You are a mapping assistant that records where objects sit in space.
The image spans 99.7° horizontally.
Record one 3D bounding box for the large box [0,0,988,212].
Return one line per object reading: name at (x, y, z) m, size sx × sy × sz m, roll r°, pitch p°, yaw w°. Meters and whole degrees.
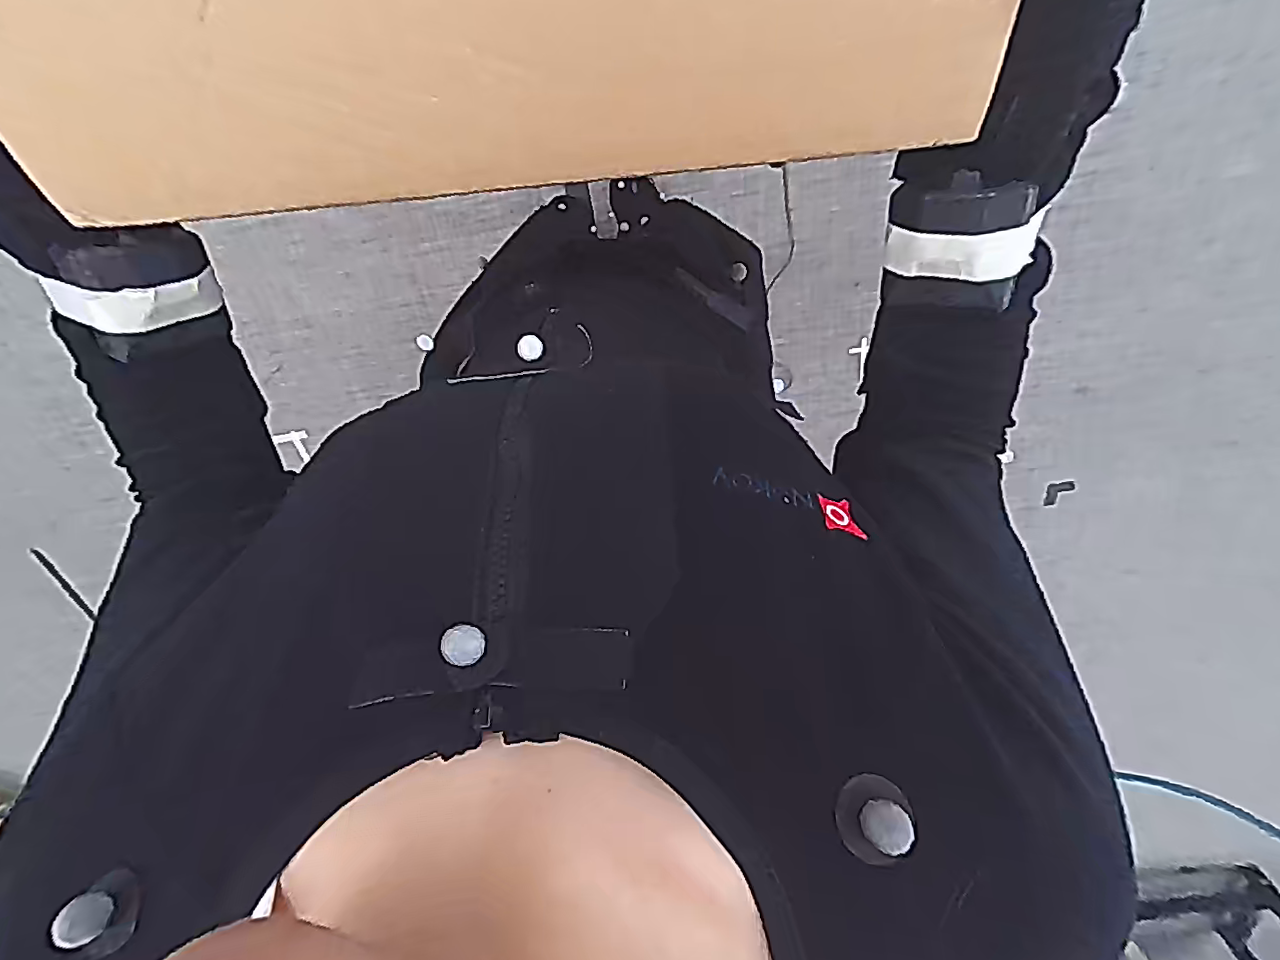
large box at (-0.074, -0.356, 0.243) m, size 0.408 × 0.320 × 0.320 m, roll -4°, pitch 134°, yaw 3°
